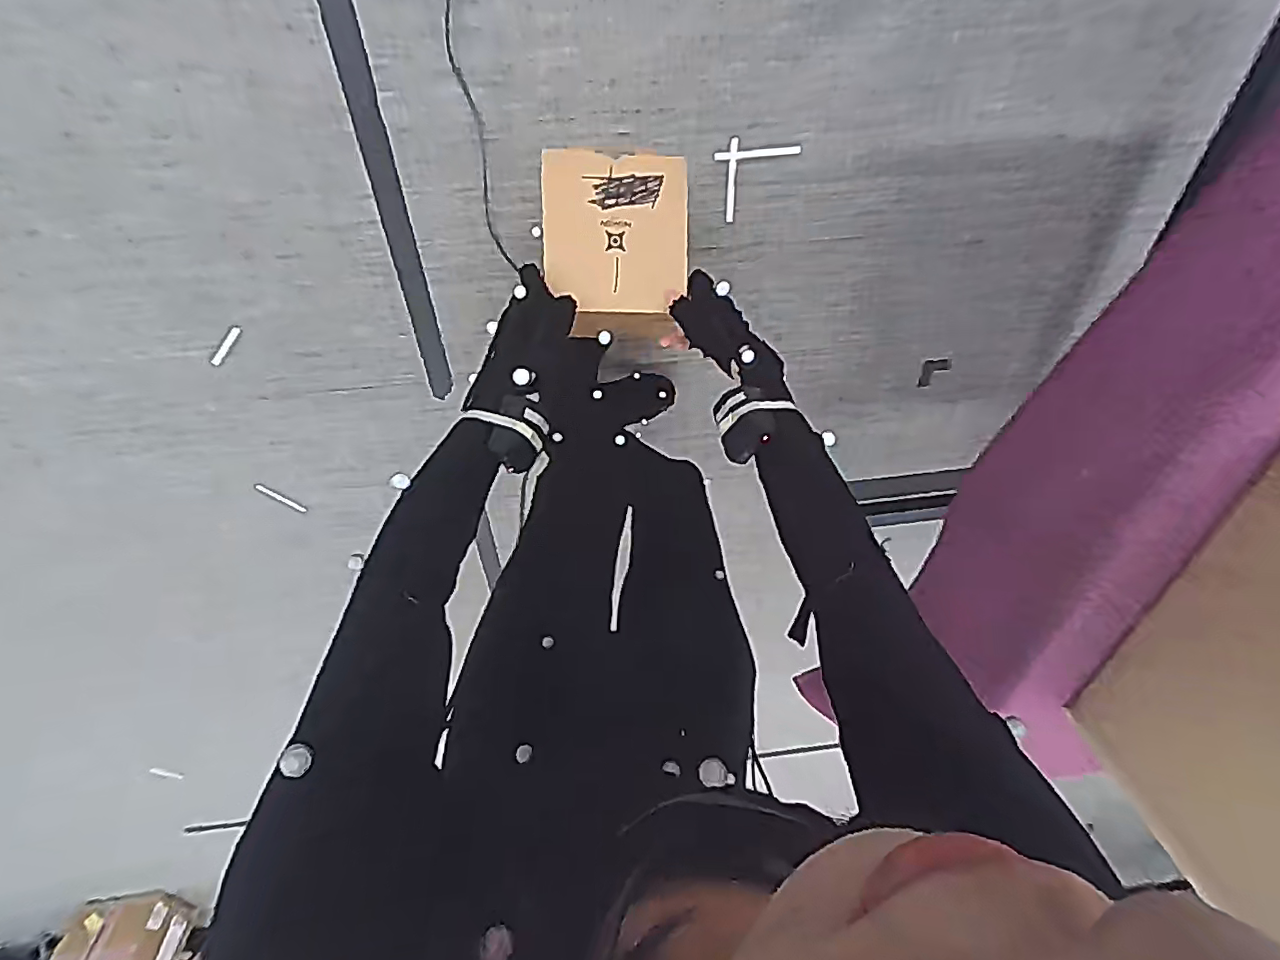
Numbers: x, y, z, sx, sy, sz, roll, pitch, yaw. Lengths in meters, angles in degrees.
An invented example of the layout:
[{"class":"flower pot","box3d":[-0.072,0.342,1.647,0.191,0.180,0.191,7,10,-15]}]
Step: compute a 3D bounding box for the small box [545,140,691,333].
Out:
[{"class":"small box","box3d":[-0.036,-0.290,0.682,0.168,0.176,0.179,-1,96,-8]}]
